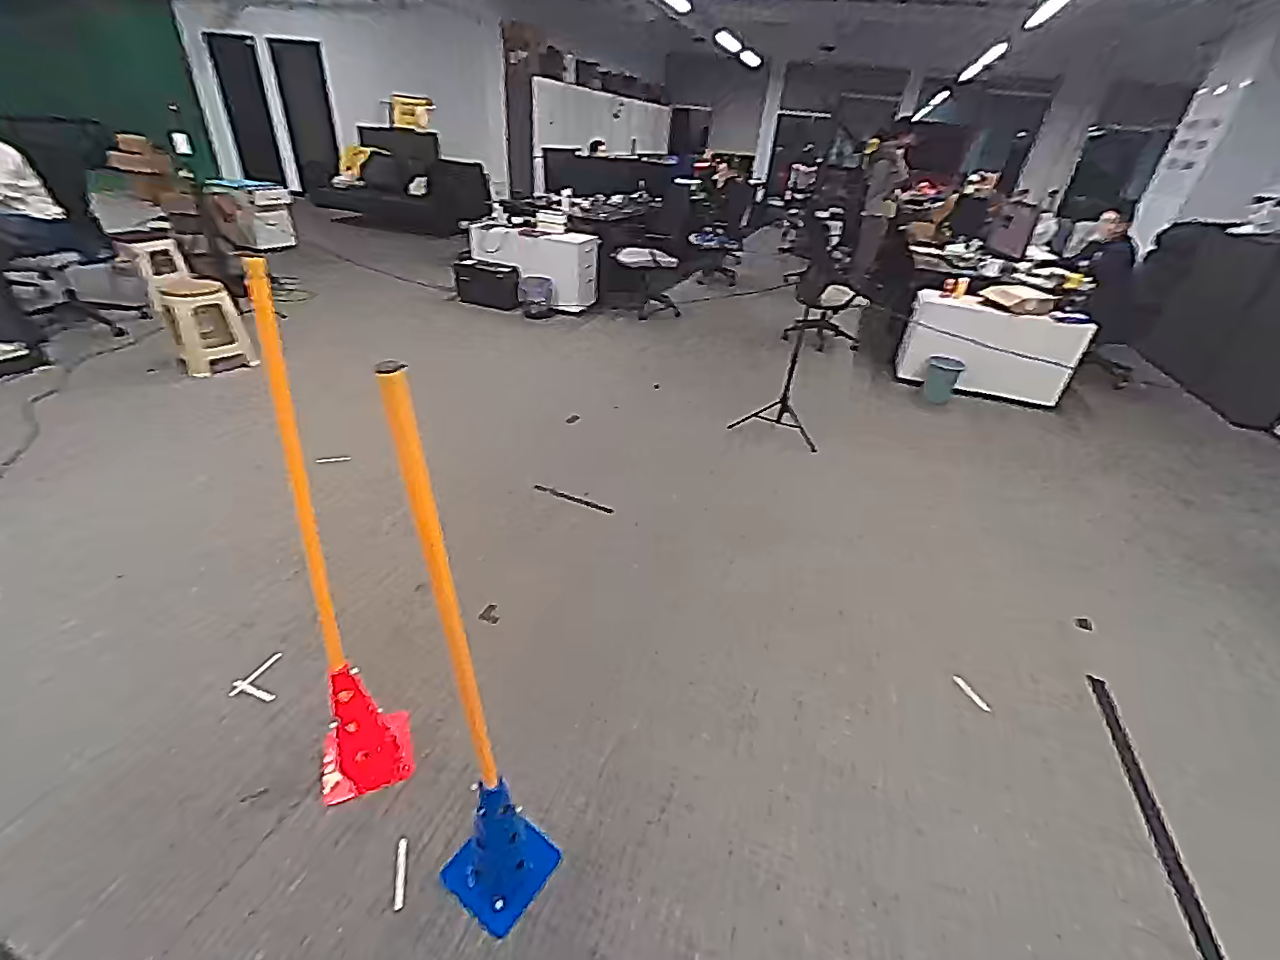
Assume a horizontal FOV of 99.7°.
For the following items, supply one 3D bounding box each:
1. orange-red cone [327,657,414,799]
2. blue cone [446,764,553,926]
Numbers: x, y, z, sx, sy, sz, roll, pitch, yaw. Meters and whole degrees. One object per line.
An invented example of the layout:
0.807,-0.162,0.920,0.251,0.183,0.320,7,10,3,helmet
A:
-0.675,0.551,1.284,0.198,0.360,0.199,-10,37,-21,orange-red cone
-0.298,0.712,1.113,0.192,0.380,0.193,24,37,28,blue cone
